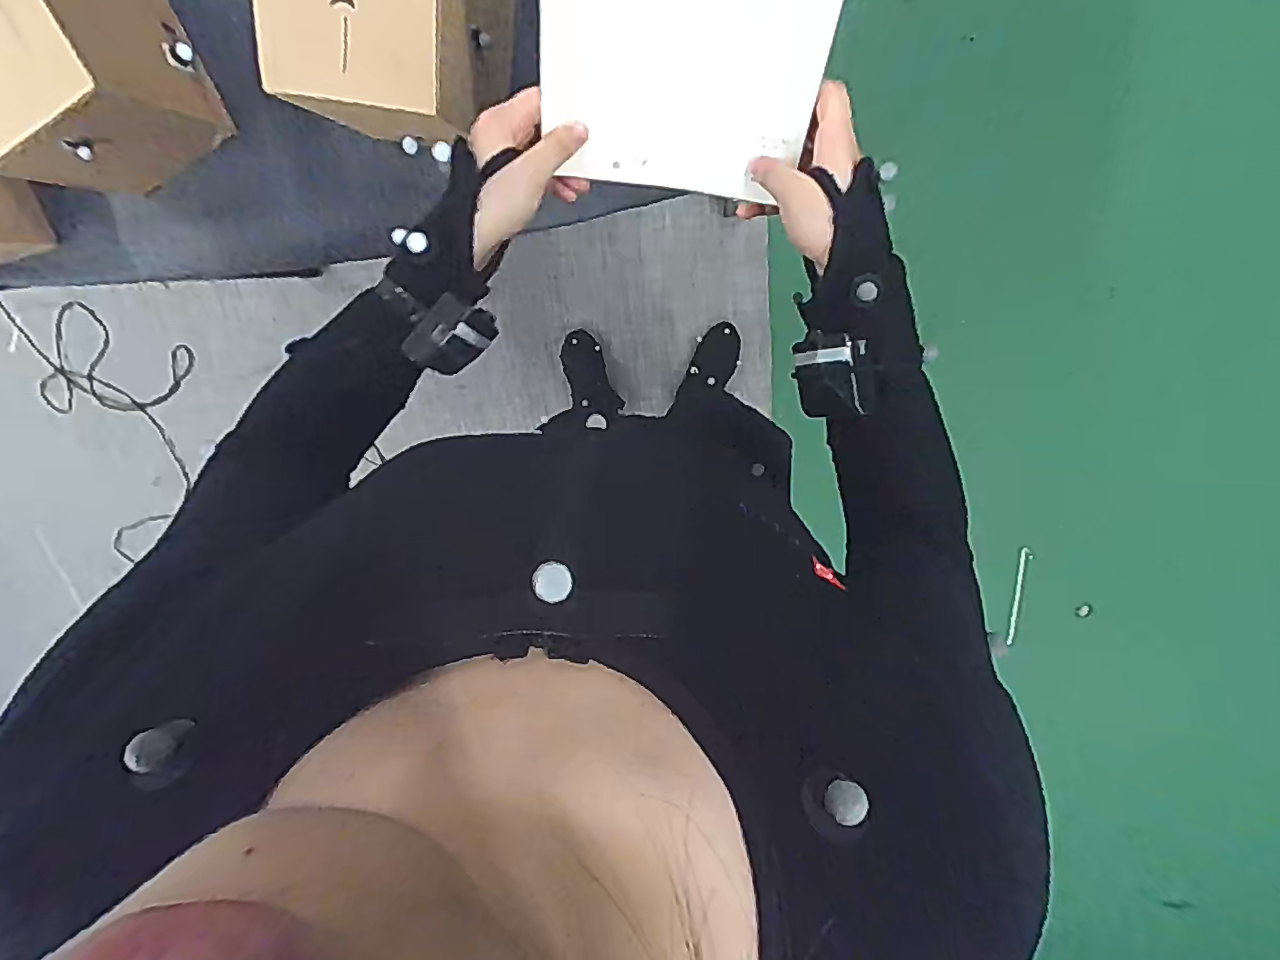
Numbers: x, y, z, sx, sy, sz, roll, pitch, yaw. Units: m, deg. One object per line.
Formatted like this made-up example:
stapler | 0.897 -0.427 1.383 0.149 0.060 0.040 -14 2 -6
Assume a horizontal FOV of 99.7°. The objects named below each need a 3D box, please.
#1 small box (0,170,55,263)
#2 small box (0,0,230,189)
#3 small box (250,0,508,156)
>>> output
small box | -0.889 -0.357 0.643 0.168 0.176 0.179 -9 110 10
small box | -0.603 -0.435 0.576 0.179 0.176 0.168 -19 107 14
small box | -0.236 -0.438 0.520 0.168 0.176 0.179 11 112 4
